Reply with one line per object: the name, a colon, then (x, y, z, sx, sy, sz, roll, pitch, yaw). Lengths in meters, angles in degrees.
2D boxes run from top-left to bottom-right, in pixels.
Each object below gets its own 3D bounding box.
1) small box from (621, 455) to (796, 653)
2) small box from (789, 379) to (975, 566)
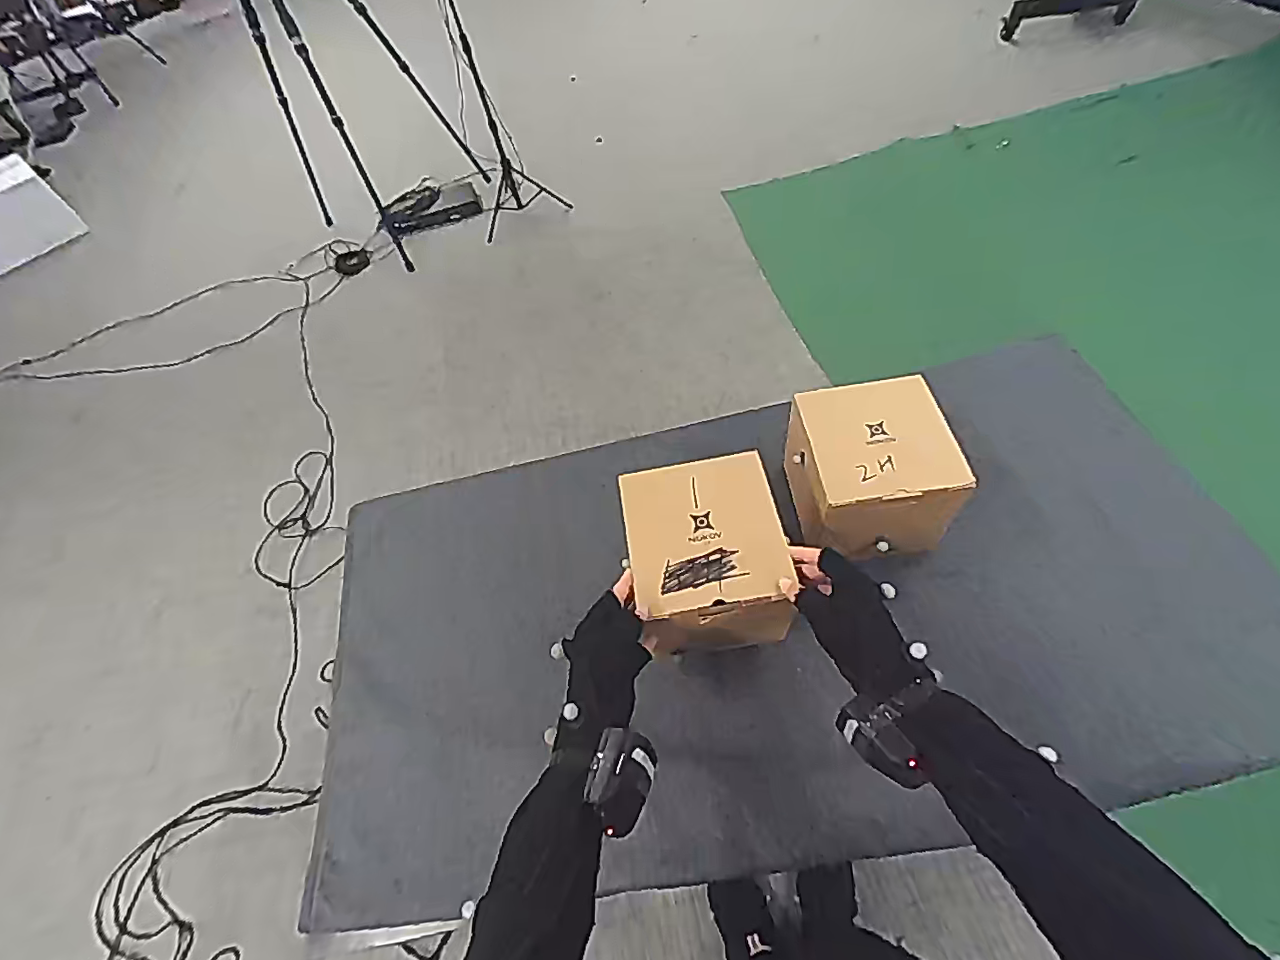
small box: (0.079, 0.099, 0.650, 0.168, 0.176, 0.179, -10, 57, 3)
small box: (0.302, -0.006, 0.722, 0.168, 0.176, 0.179, -9, 56, 6)
